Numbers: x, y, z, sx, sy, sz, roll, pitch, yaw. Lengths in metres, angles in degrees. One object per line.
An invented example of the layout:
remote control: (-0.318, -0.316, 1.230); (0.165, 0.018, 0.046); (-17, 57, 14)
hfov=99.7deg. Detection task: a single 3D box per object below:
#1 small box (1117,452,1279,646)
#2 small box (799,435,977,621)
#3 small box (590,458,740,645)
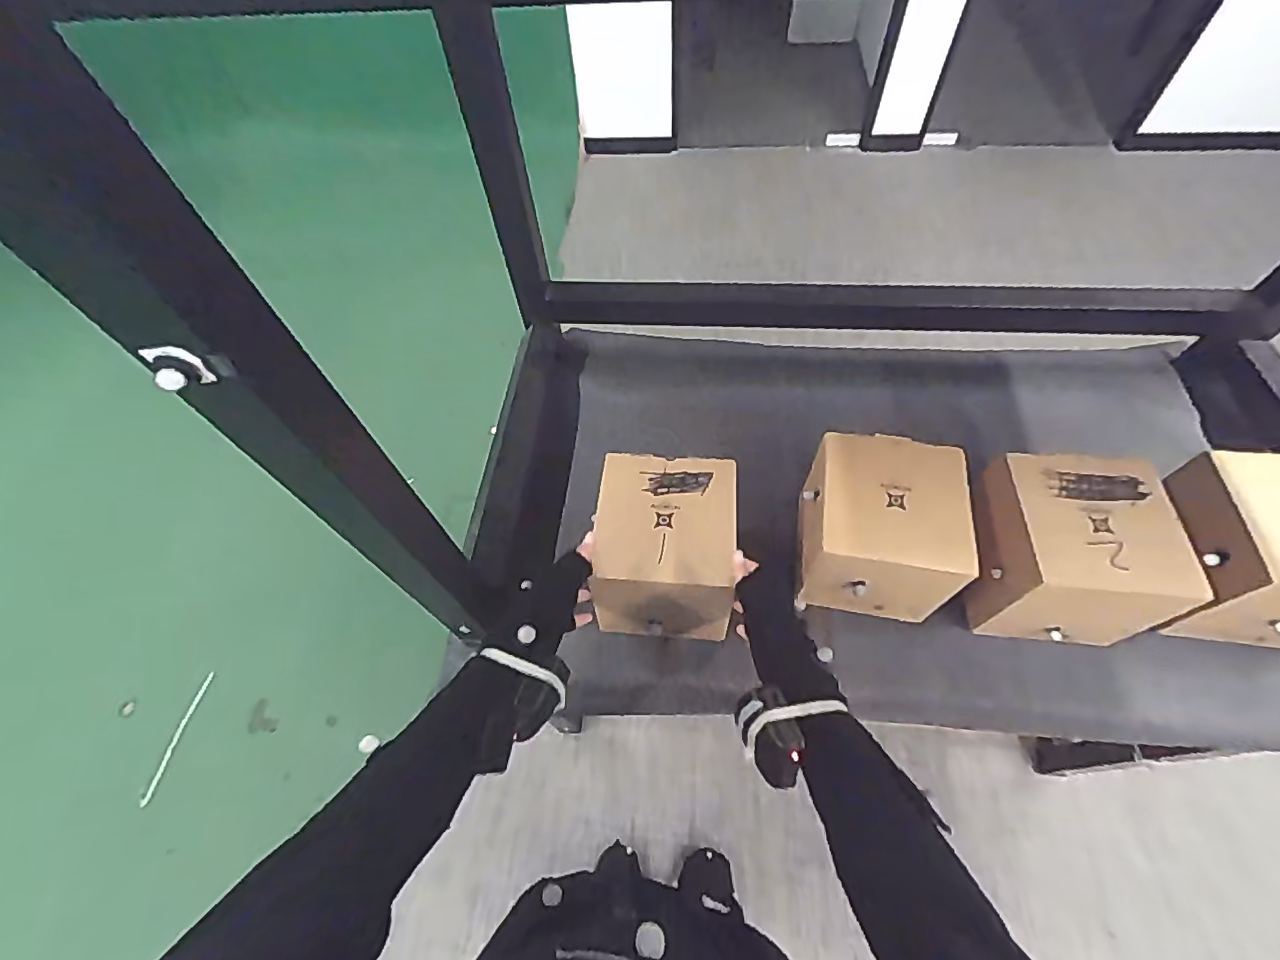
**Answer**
small box: (0.745, 0.089, 0.657); (0.168, 0.176, 0.179); (5, 57, 7)
small box: (0.307, 0.068, 0.704); (0.168, 0.176, 0.179); (8, 57, 9)
small box: (0.037, 0.094, 0.696); (0.168, 0.176, 0.179); (2, 54, 6)
